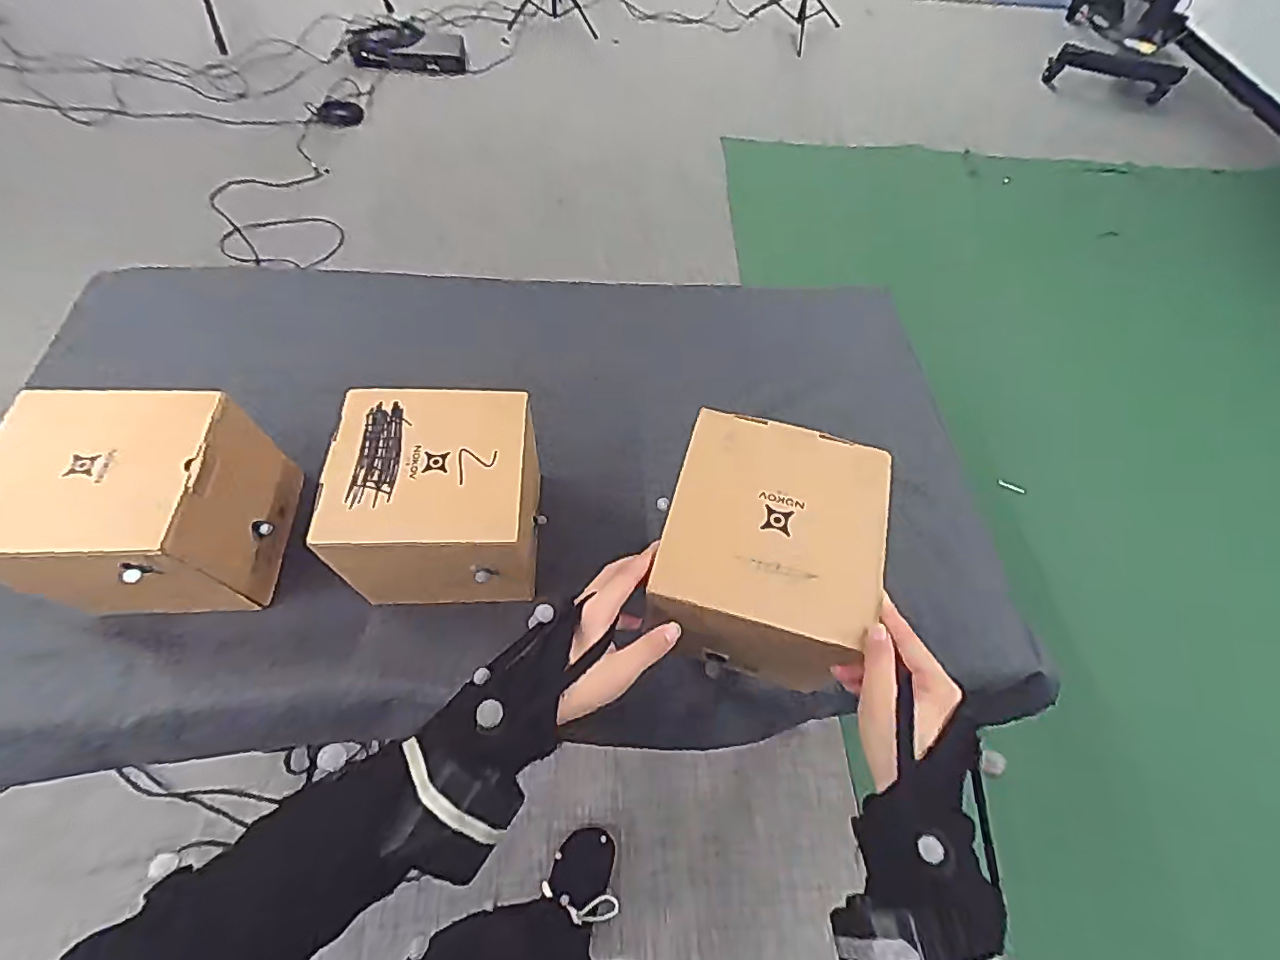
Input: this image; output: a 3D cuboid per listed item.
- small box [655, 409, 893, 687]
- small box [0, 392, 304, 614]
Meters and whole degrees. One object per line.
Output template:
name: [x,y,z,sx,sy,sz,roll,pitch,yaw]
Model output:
small box: [0.111,0.068,0.492,0.168,0.176,0.179,14,61,8]
small box: [-0.478,0.030,0.538,0.179,0.176,0.168,-1,60,-7]
